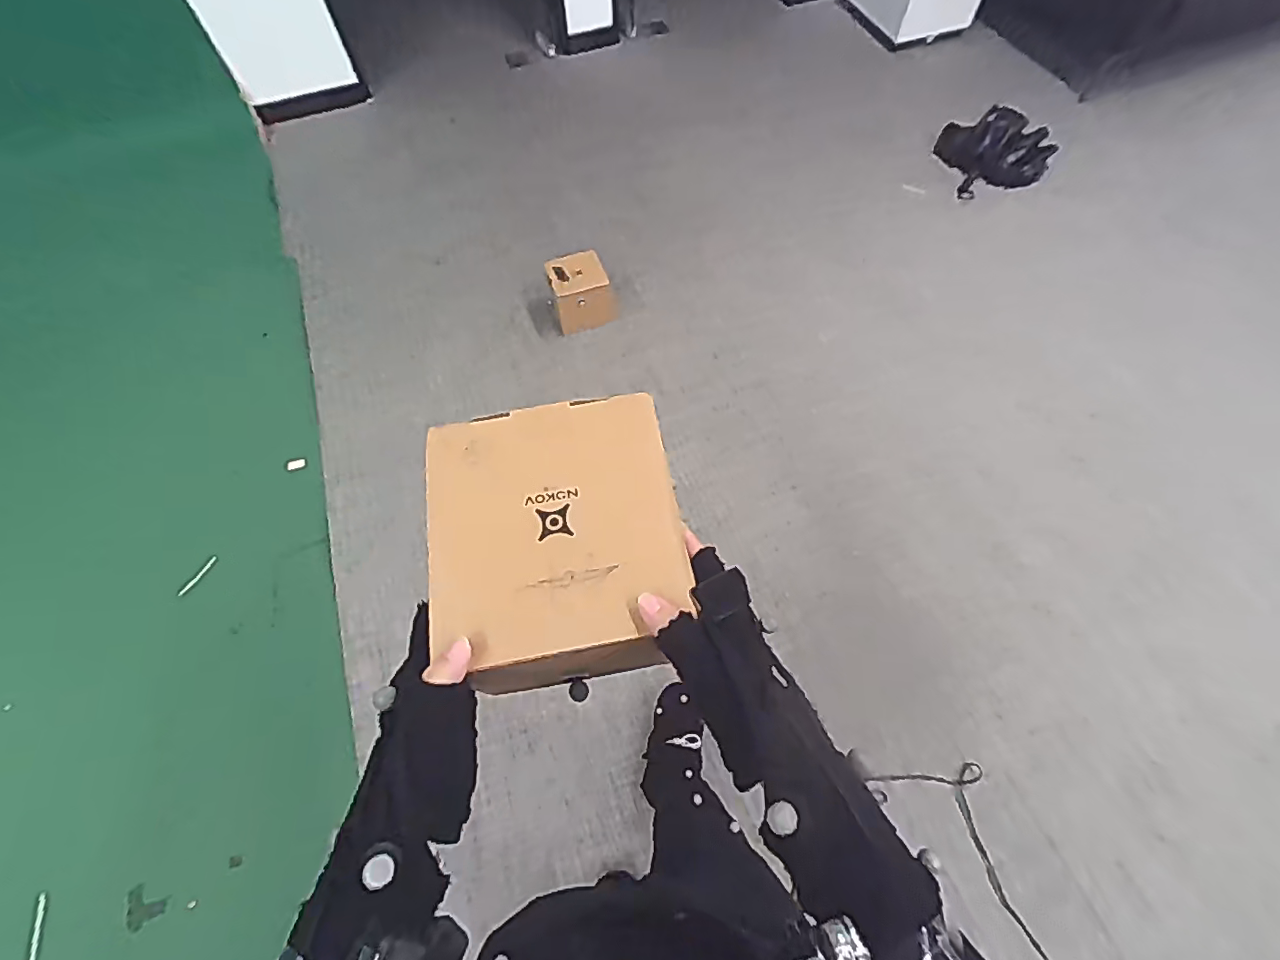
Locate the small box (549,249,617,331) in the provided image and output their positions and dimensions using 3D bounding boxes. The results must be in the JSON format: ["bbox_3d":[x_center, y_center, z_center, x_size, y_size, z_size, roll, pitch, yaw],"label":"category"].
[{"bbox_3d":[-0.182,-0.616,1.772,0.179,0.176,0.168,-18,64,-7],"label":"small box"}]

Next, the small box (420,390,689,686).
[{"bbox_3d":[-0.061,0.055,0.432,0.168,0.176,0.179,-10,66,-3],"label":"small box"}]
